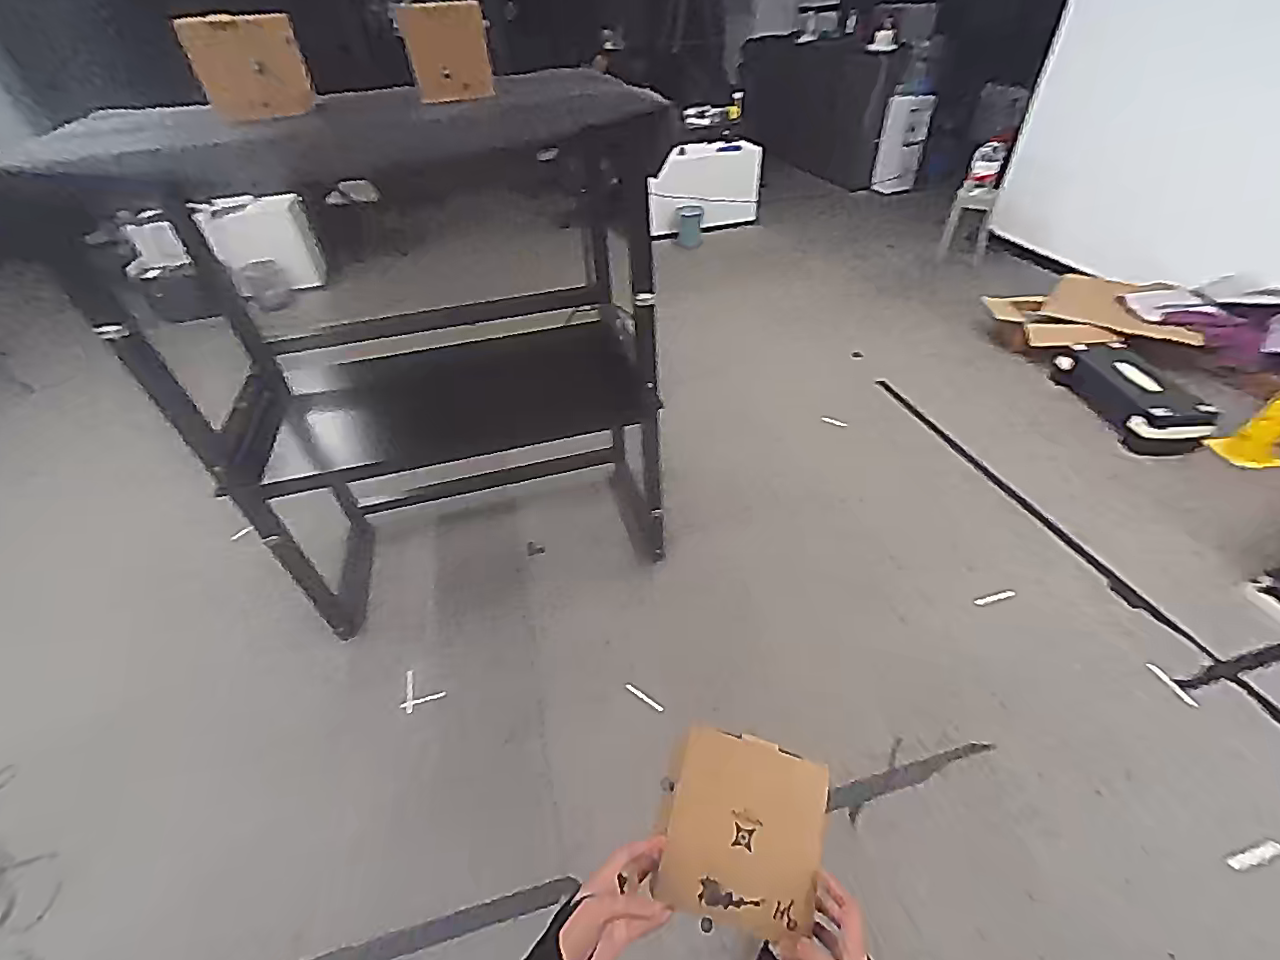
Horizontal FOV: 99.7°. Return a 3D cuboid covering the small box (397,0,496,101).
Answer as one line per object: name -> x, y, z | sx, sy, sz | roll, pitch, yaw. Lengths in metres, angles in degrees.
small box -> -0.428, -0.966, 1.213 | 0.168, 0.176, 0.179 | -13, 44, -9

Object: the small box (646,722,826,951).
small box -> 0.108, 0.414, 0.657 | 0.168, 0.176, 0.179 | 16, 63, 4

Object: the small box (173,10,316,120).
small box -> -0.818, -0.874, 1.143 | 0.168, 0.176, 0.179 | -10, 44, -8
